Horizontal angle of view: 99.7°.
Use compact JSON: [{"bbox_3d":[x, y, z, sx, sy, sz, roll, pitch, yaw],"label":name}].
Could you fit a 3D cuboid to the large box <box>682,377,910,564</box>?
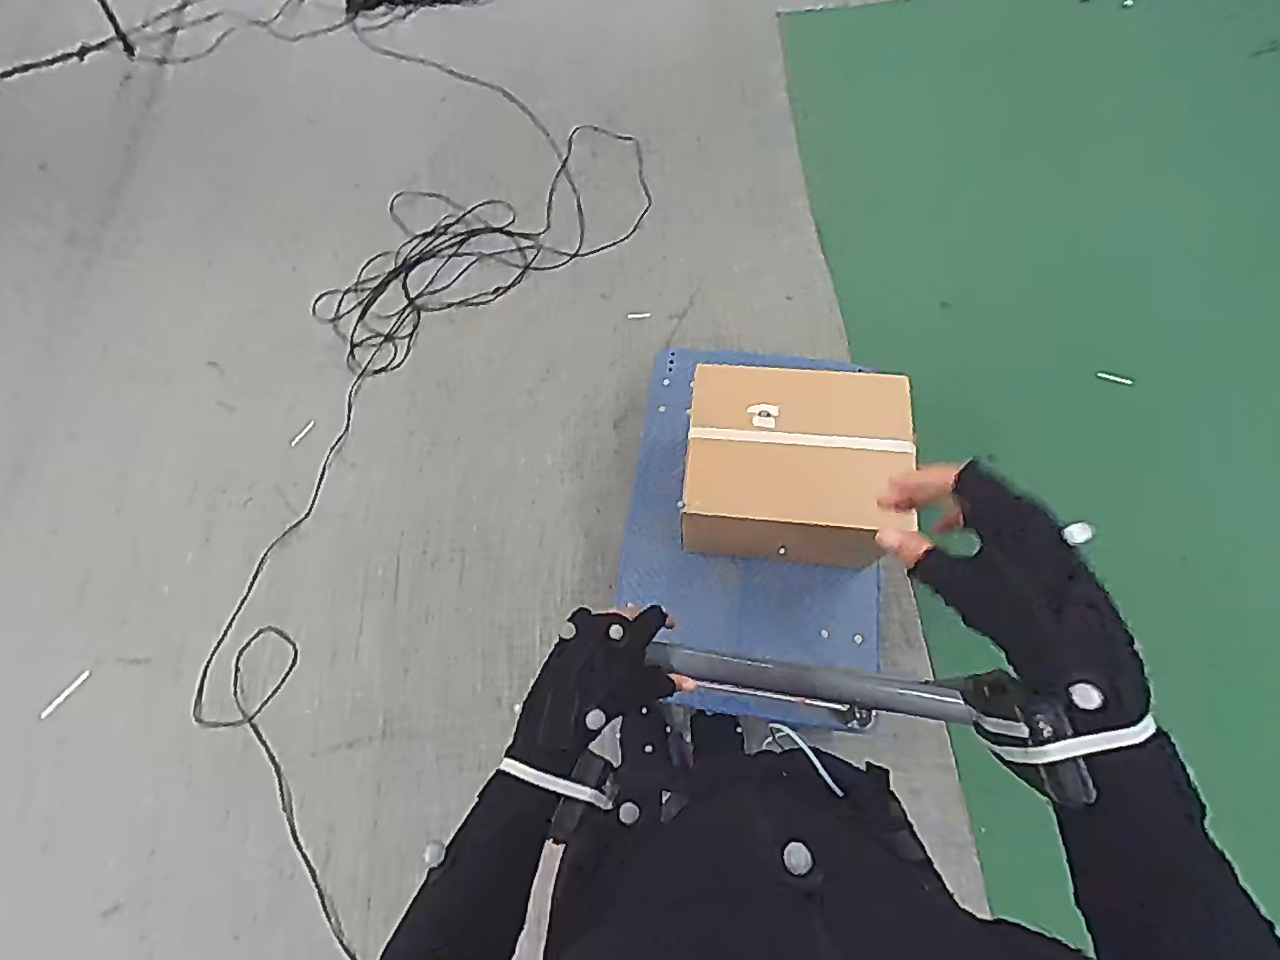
[{"bbox_3d":[0.303,-0.007,1.153,0.408,0.320,0.320,3,69,8],"label":"large box"}]
